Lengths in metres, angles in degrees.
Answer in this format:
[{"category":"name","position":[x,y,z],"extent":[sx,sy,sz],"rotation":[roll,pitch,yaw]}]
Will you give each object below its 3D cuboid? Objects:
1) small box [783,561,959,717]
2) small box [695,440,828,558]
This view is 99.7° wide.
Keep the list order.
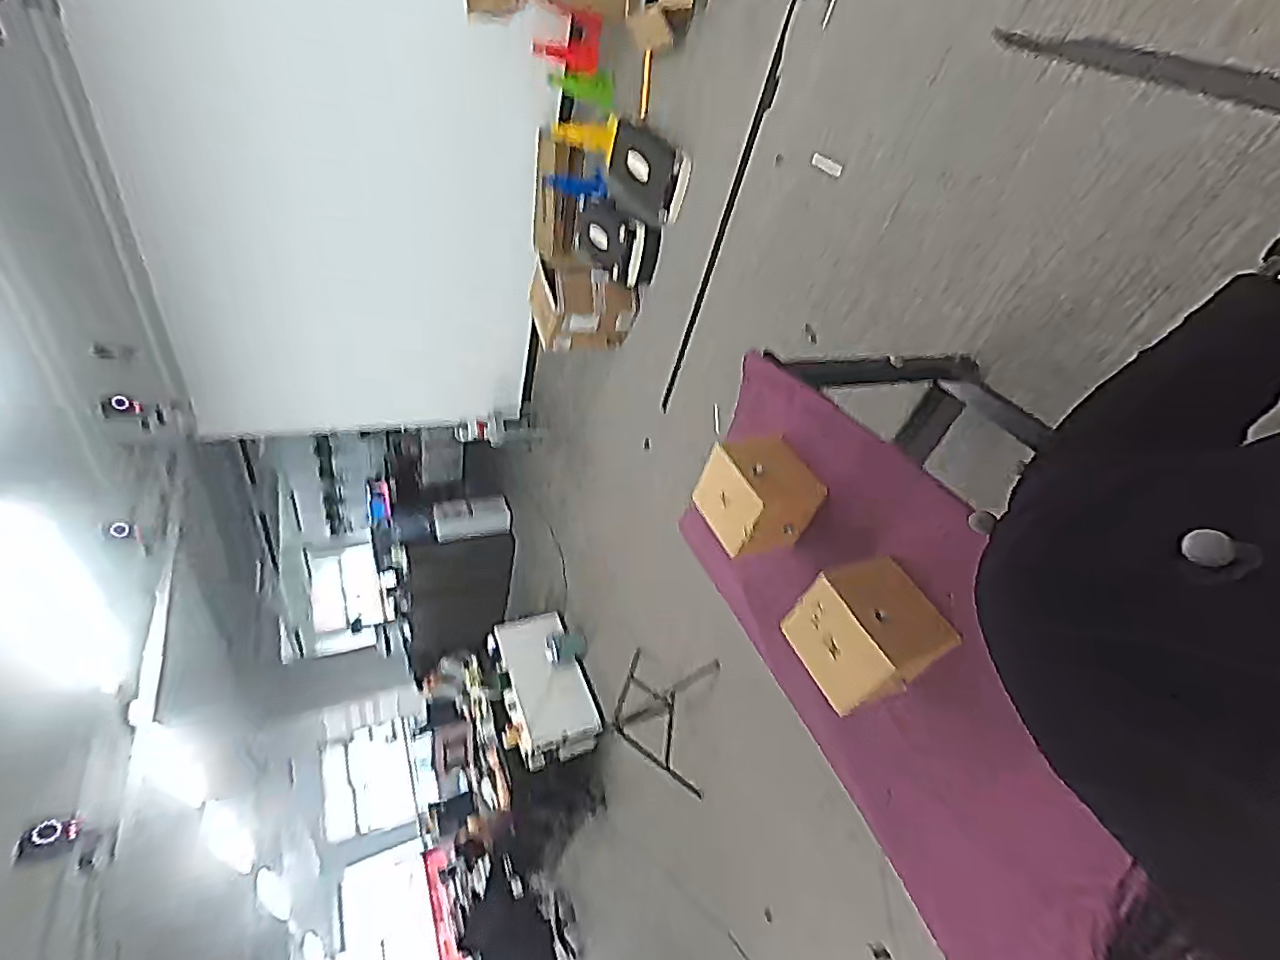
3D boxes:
[{"category":"small box","position":[0.384,0.259,0.910],"extent":[0.179,0.176,0.168],"rotation":[60,144,36]},{"category":"small box","position":[0.245,0.032,1.114],"extent":[0.179,0.176,0.168],"rotation":[59,145,35]}]
